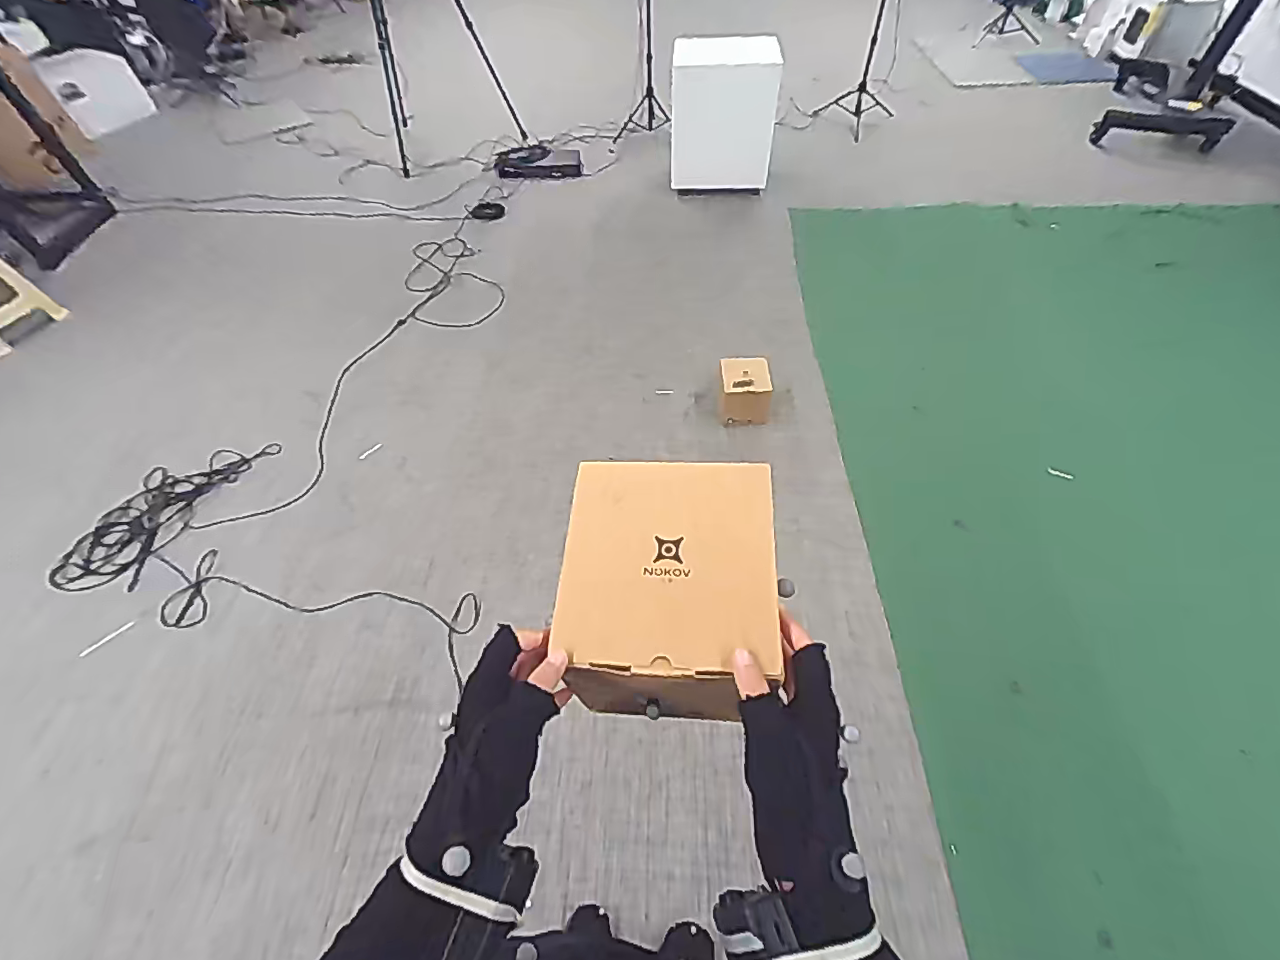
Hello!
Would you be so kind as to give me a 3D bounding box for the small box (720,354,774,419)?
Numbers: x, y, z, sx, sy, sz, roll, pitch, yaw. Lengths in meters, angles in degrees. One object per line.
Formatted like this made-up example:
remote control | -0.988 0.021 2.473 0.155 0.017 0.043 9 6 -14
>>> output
small box | 0.379 -0.331 1.942 0.168 0.176 0.179 -1 53 2
